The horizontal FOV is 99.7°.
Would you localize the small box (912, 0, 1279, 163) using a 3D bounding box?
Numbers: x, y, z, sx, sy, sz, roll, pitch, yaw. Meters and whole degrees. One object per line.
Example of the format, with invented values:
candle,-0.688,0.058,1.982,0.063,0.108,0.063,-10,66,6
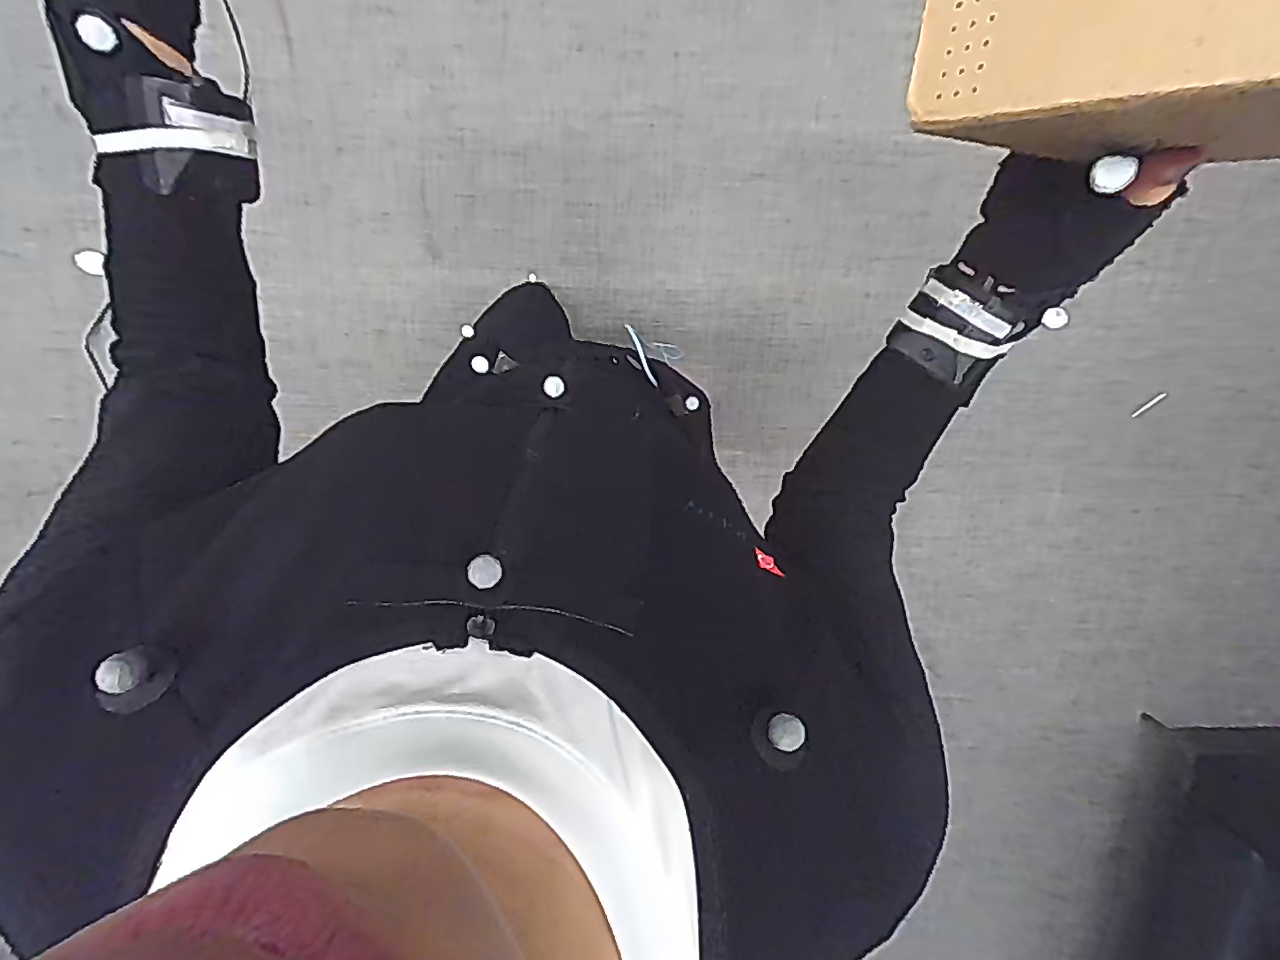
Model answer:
small box,0.217,-0.191,0.149,0.179,0.176,0.168,-13,119,-29
